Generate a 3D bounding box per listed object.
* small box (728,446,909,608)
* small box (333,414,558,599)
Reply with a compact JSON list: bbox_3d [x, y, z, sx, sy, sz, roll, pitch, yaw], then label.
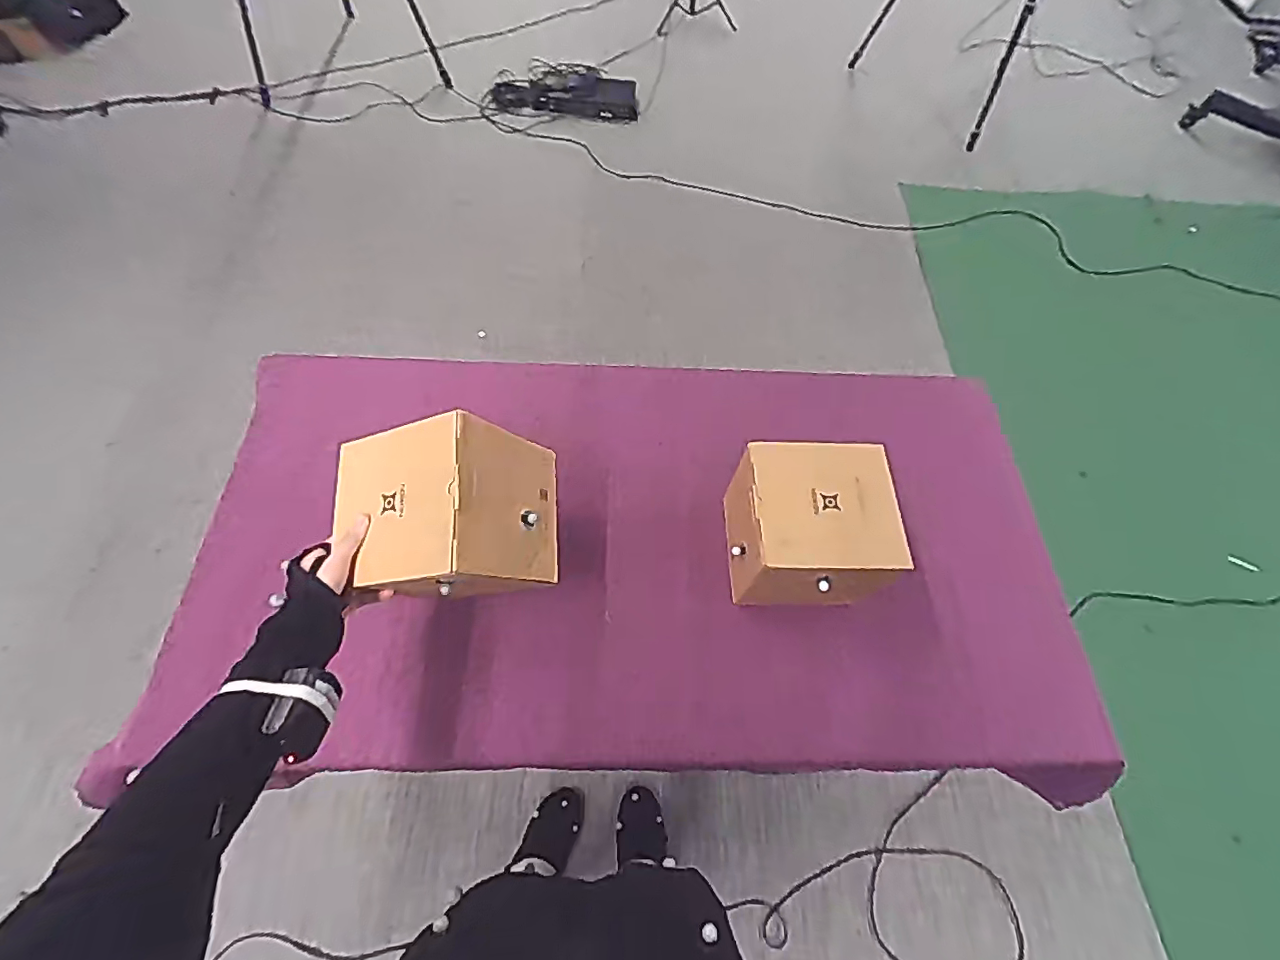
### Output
[{"bbox_3d":[0.217,0.069,0.718,0.179,0.176,0.168,2,63,-3],"label":"small box"},{"bbox_3d":[-0.214,0.044,0.628,0.179,0.176,0.168,-11,71,22],"label":"small box"}]
